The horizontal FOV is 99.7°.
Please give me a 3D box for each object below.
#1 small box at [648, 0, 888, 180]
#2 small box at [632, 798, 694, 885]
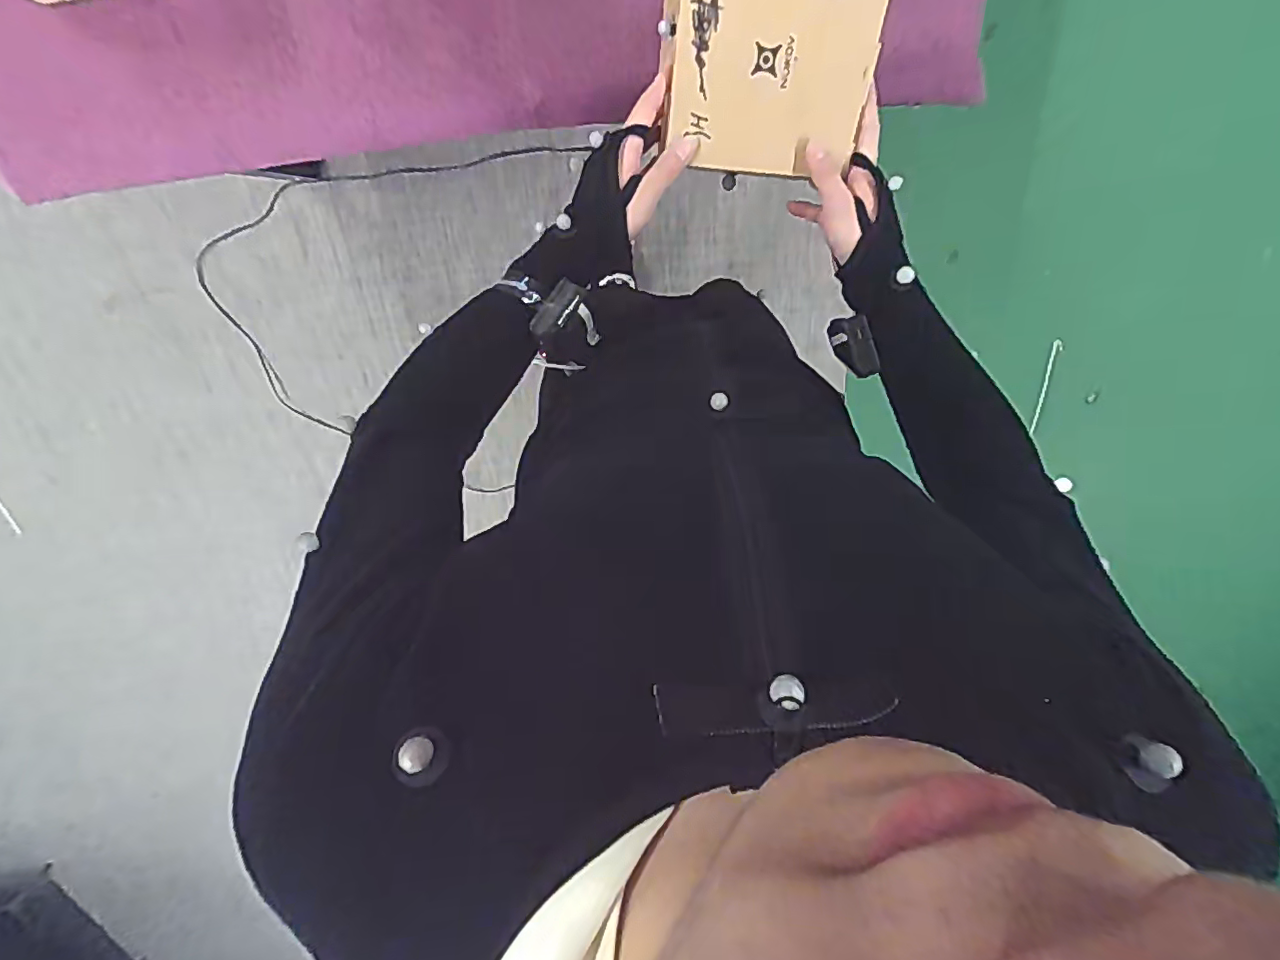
[{"bbox_3d":[0.108,-0.397,0.528,0.179,0.176,0.168,3,119,-5],"label":"small box"},{"bbox_3d":[0.070,1.143,1.720,0.179,0.176,0.168,-6,116,-1],"label":"small box"}]
